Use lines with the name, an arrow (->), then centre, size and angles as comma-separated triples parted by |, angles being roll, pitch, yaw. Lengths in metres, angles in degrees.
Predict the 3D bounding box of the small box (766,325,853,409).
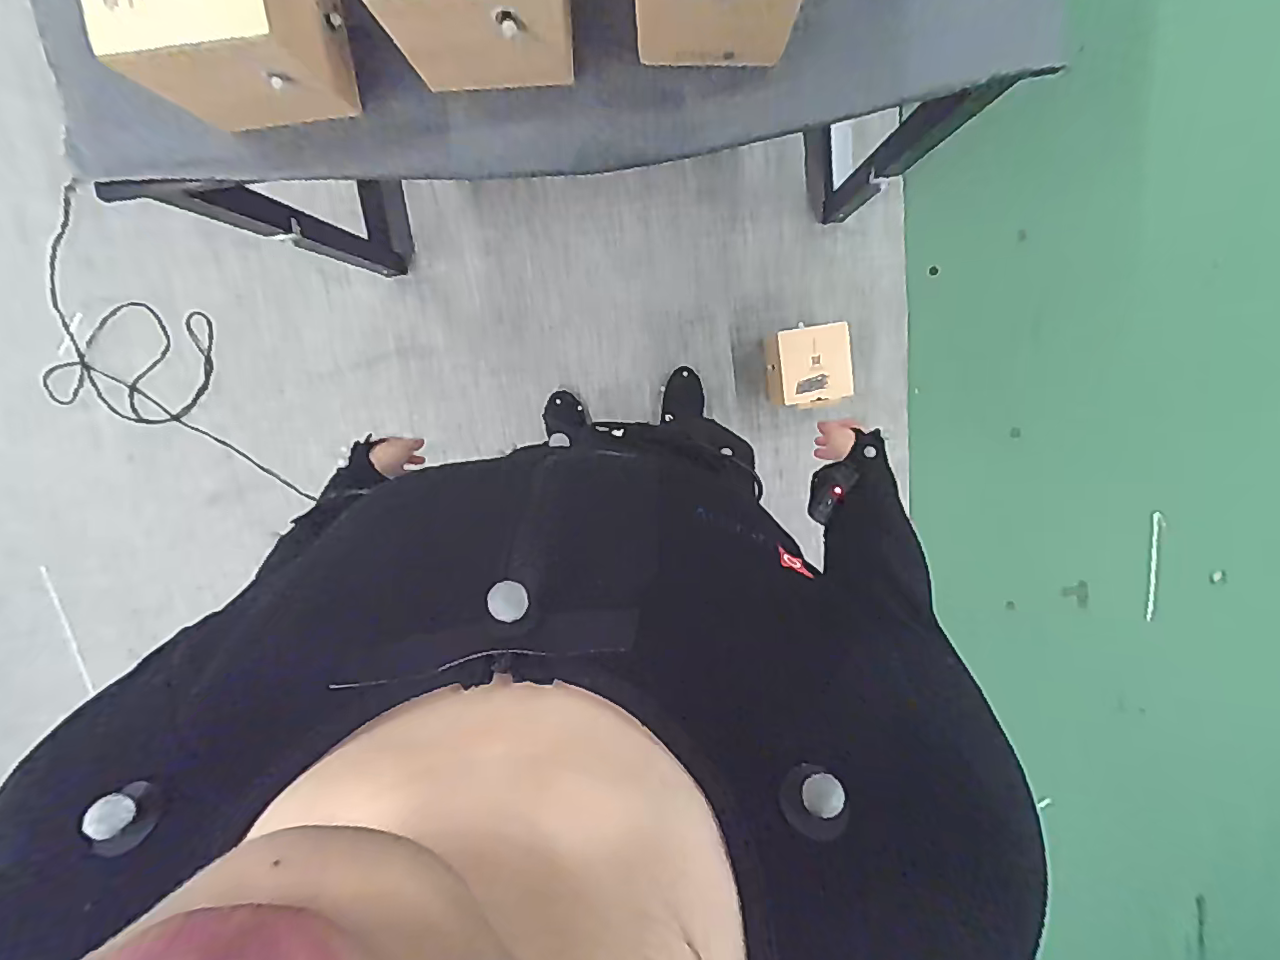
small box -> 0.413, -0.279, 1.336 | 0.168, 0.176, 0.179 | -8, 100, 3

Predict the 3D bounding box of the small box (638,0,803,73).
small box -> 0.082, -0.557, 0.545 | 0.168, 0.176, 0.179 | 2, 99, 2
